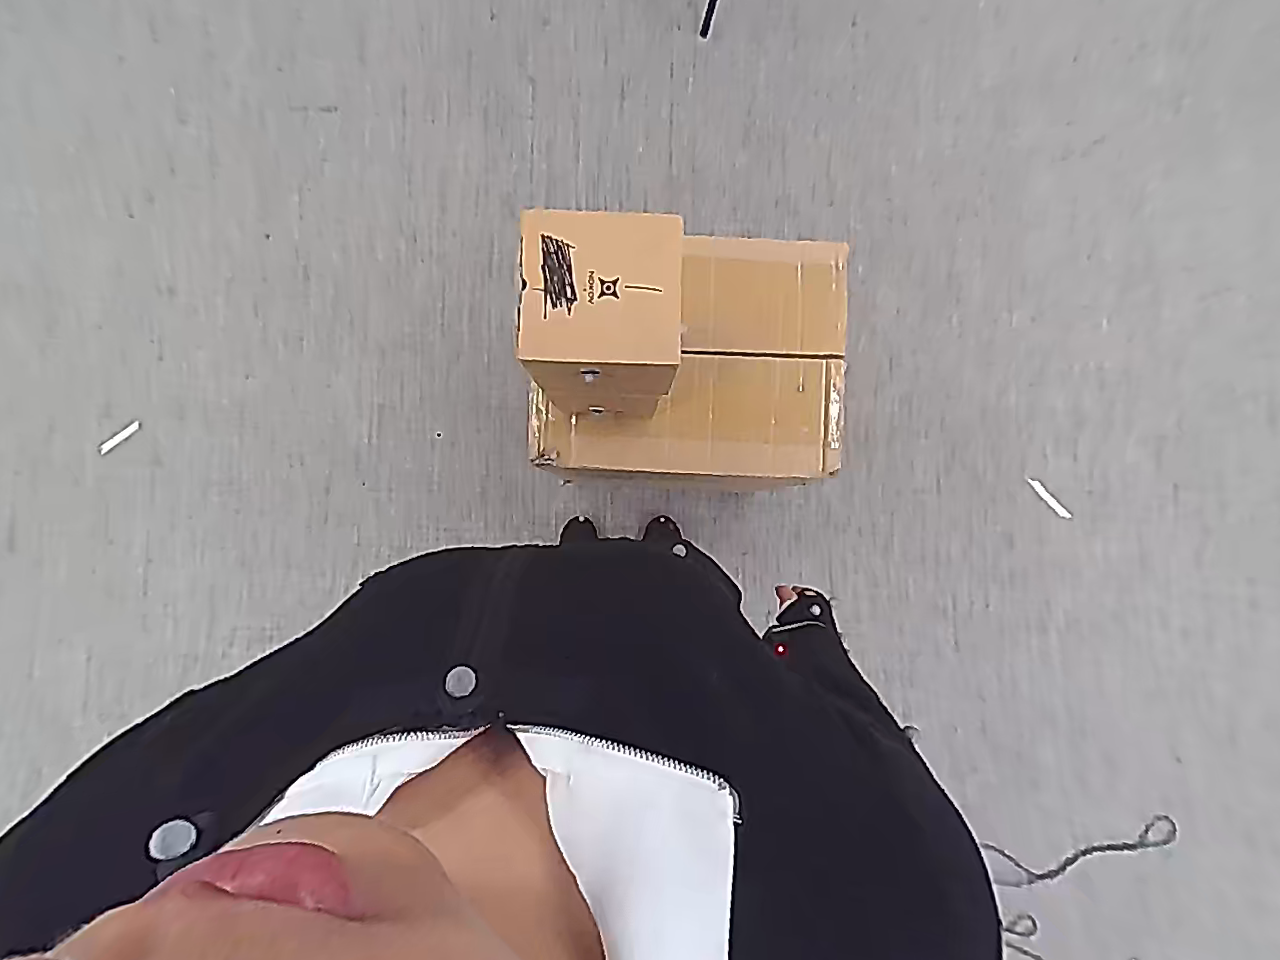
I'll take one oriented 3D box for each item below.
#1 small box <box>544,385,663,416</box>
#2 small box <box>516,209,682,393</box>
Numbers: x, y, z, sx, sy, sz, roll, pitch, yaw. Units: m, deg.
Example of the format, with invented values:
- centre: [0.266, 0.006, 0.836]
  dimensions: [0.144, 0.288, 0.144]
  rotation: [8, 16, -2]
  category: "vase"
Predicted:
- centre: [-0.049, -0.199, 0.826]
  dimensions: [0.168, 0.176, 0.179]
  rotation: [2, 89, -1]
  category: "small box"
- centre: [-0.044, -0.205, 0.661]
  dimensions: [0.179, 0.176, 0.168]
  rotation: [1, 88, -1]
  category: "small box"
